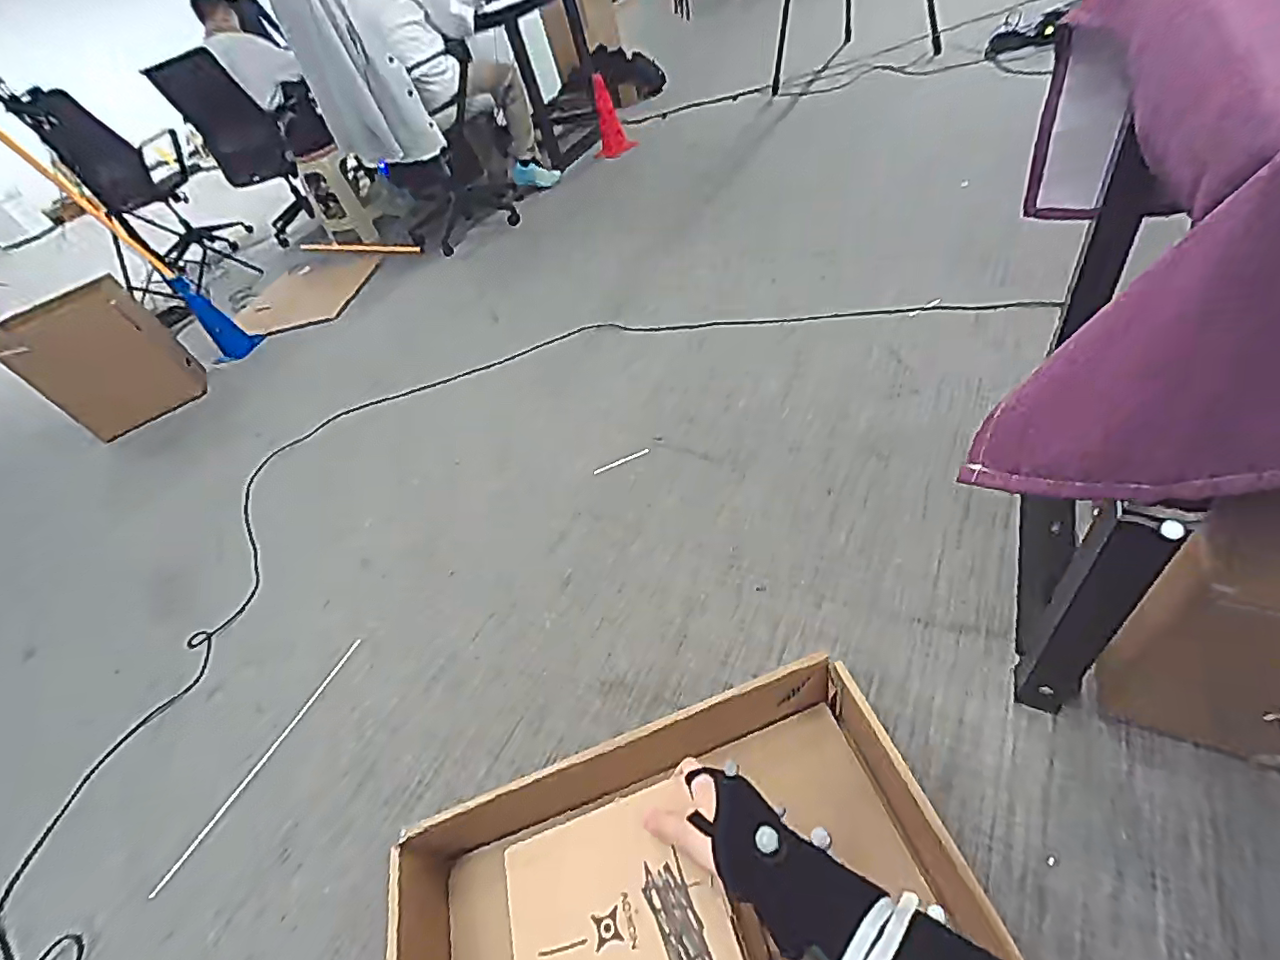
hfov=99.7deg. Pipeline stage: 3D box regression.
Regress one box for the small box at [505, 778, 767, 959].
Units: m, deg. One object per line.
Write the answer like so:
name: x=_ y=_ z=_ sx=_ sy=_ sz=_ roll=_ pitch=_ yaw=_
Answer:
small box: x=0.005 y=0.394 z=0.473 sx=0.179 sy=0.176 sz=0.168 roll=-24 pitch=46 yaw=1

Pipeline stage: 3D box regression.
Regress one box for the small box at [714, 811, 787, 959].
small box: x=0.051 y=0.499 z=0.592 sx=0.179 sy=0.176 sz=0.168 roll=-24 pitch=47 yaw=0
